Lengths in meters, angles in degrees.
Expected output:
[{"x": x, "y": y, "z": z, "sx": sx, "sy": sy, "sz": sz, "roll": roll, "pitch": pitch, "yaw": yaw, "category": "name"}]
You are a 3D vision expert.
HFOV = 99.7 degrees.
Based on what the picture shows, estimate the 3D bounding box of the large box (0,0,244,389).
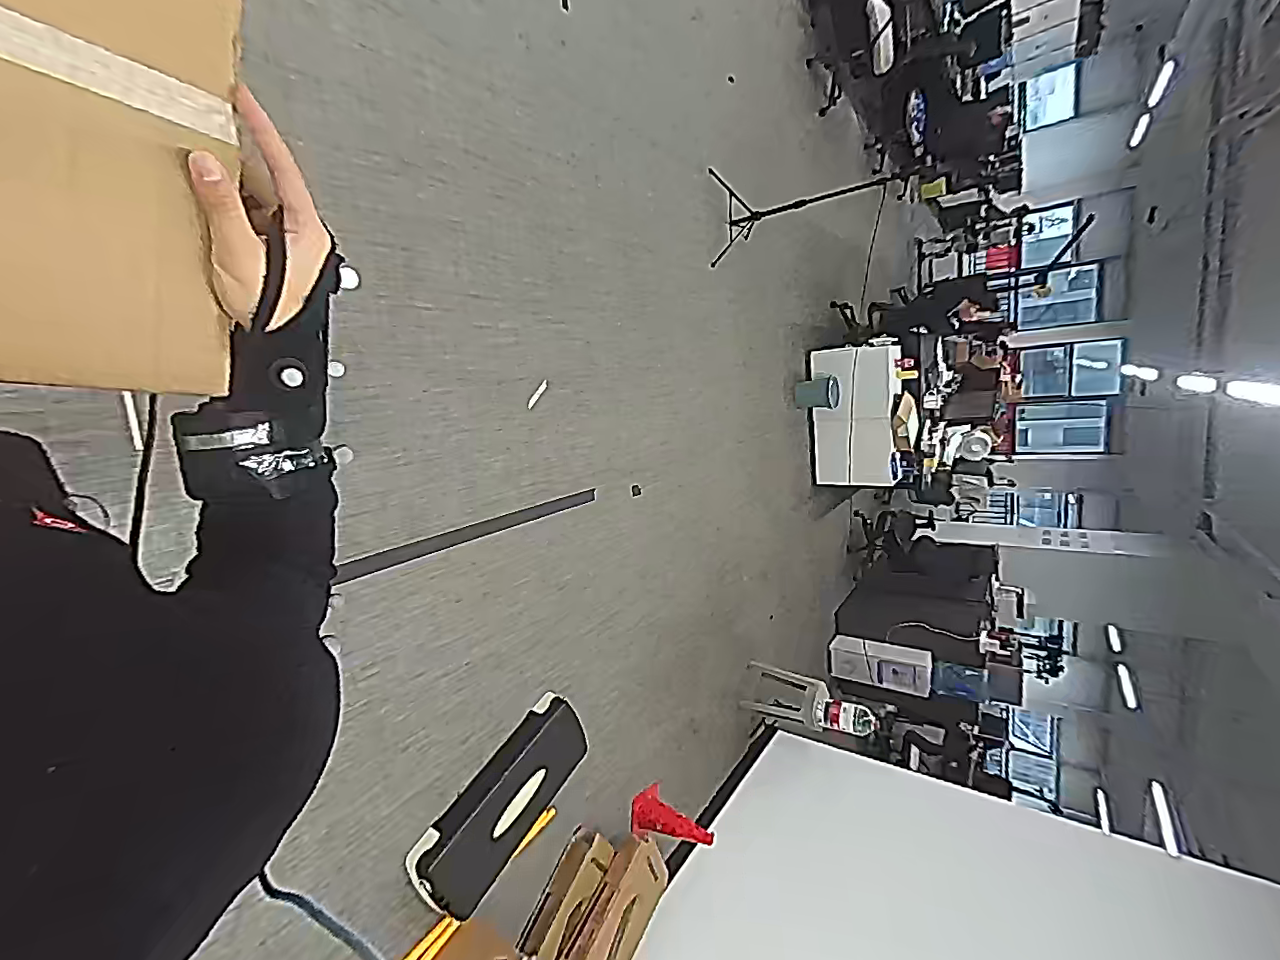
[{"x": -0.478, "y": -0.229, "z": 0.255, "sx": 0.408, "sy": 0.320, "sz": 0.320, "roll": -5, "pitch": 108, "yaw": -53, "category": "large box"}]
